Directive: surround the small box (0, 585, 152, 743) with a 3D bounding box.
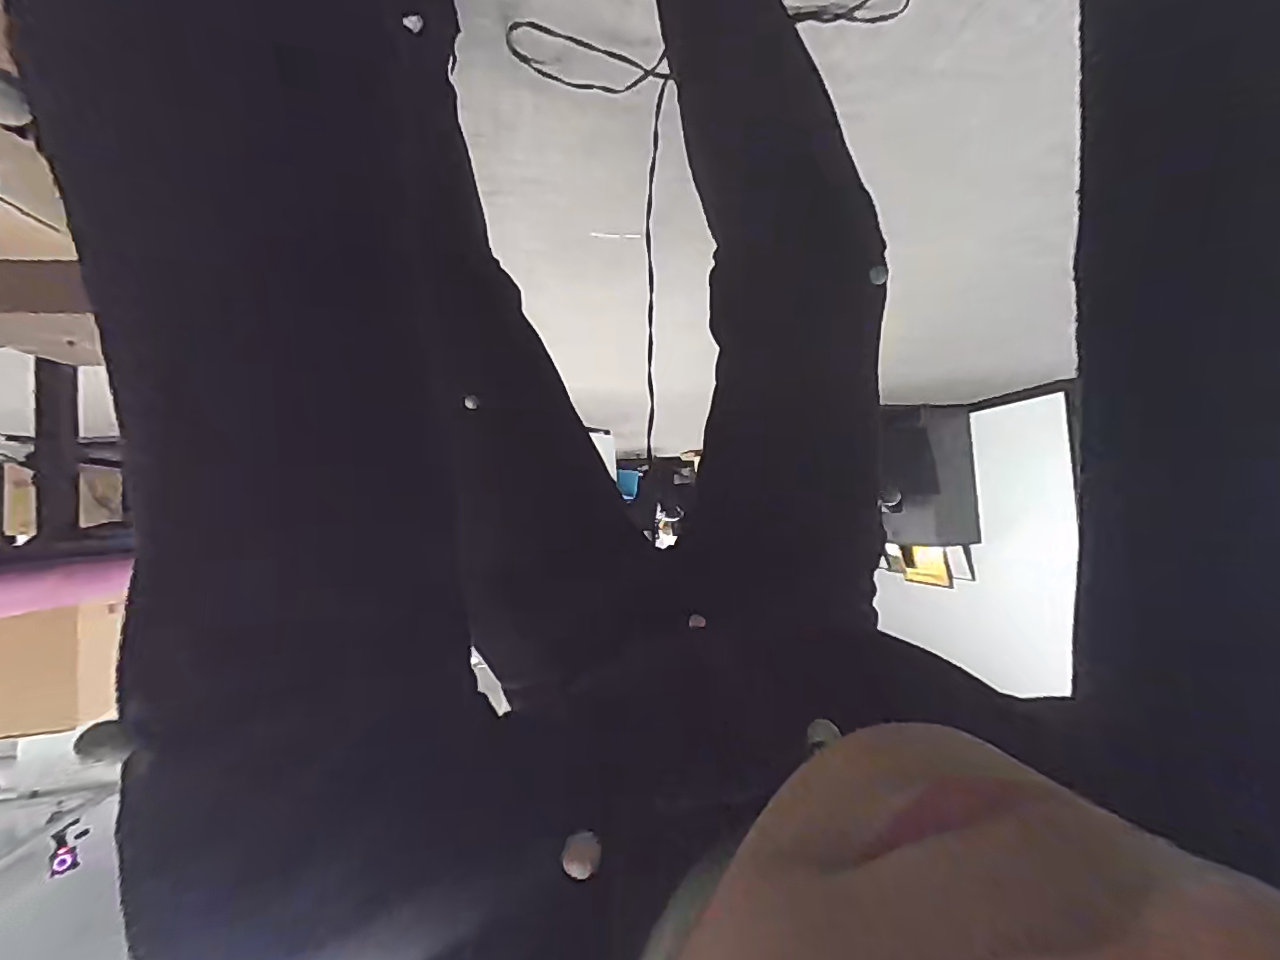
[{"bbox_3d":[-0.803,0.236,0.725,0.179,0.176,0.168,-2,178,-12],"label":"small box"}]
